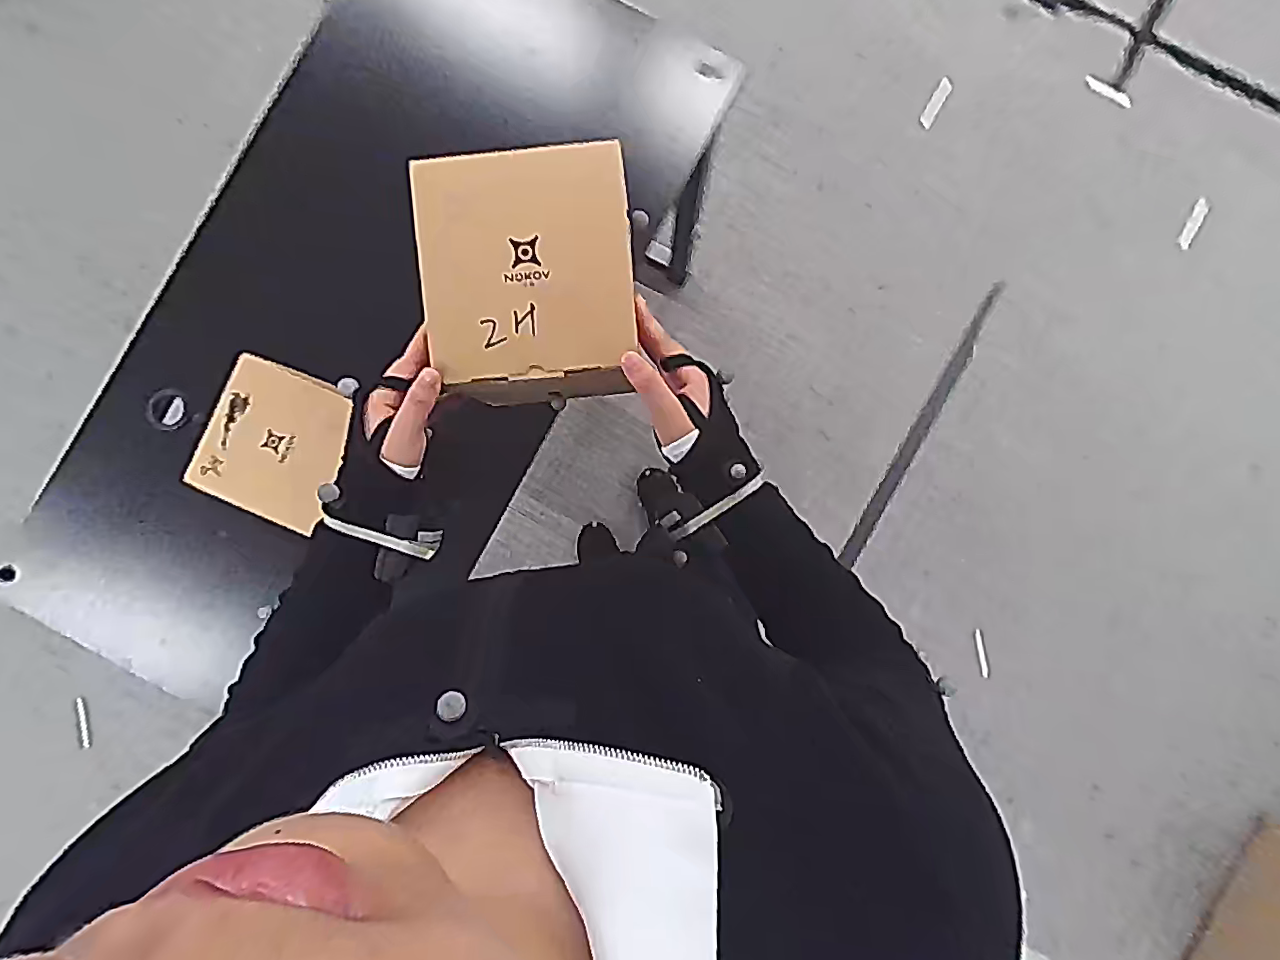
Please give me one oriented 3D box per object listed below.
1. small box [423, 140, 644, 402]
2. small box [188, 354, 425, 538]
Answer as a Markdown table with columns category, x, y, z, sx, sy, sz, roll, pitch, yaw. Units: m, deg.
| category | x | y | z | sx | sy | sz | roll | pitch | yaw |
| --- | --- | --- | --- | --- | --- | --- | --- | --- | --- |
| small box | -0.083 | -0.175 | 0.503 | 0.168 | 0.176 | 0.179 | -4 | 91 | 2 |
| small box | -0.414 | -0.039 | 0.708 | 0.179 | 0.176 | 0.168 | 24 | 88 | 1 |
